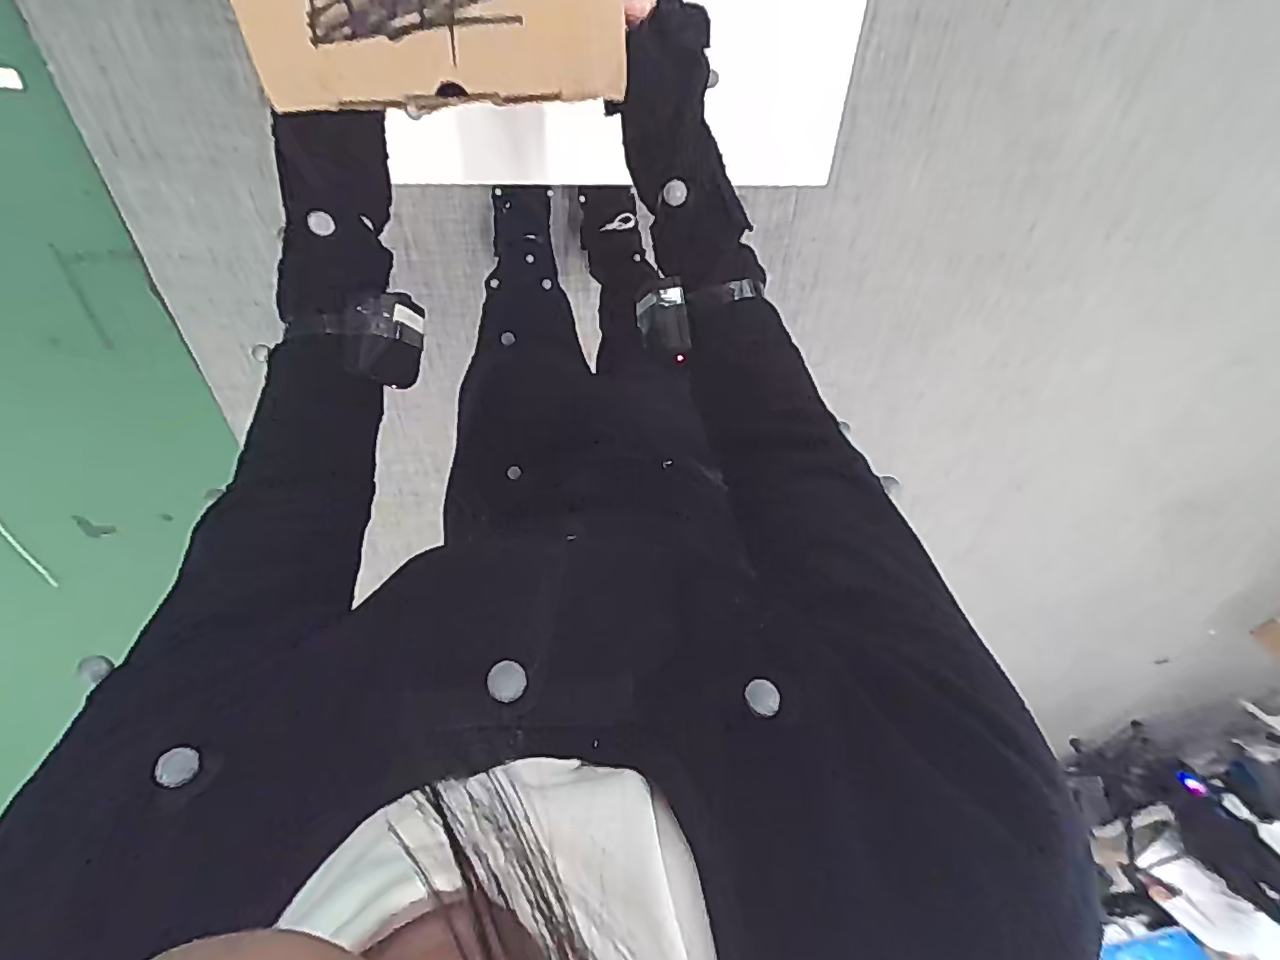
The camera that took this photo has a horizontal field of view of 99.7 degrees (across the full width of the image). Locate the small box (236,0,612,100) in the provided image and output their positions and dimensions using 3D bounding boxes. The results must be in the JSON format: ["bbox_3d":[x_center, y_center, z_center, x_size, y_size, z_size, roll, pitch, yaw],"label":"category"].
[{"bbox_3d":[-0.100,-0.302,0.268,0.168,0.176,0.179,-4,128,-4],"label":"small box"}]
